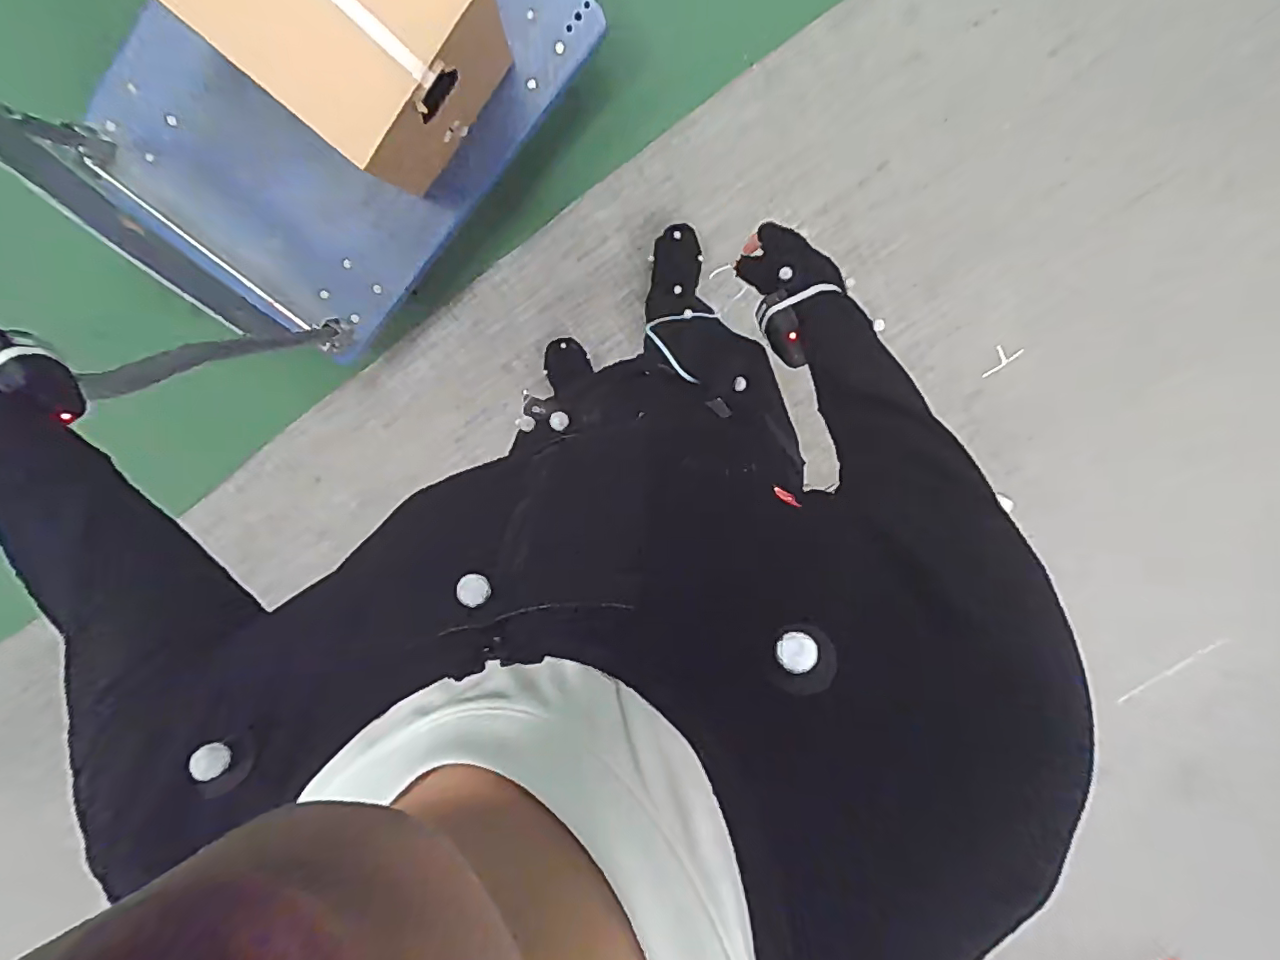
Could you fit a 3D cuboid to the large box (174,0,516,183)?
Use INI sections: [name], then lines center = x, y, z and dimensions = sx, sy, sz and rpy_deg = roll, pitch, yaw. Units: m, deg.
[large box]
center = -0.458, -0.745, 0.832
dimensions = 0.408, 0.320, 0.320
rpy_deg = 38, 102, -17
